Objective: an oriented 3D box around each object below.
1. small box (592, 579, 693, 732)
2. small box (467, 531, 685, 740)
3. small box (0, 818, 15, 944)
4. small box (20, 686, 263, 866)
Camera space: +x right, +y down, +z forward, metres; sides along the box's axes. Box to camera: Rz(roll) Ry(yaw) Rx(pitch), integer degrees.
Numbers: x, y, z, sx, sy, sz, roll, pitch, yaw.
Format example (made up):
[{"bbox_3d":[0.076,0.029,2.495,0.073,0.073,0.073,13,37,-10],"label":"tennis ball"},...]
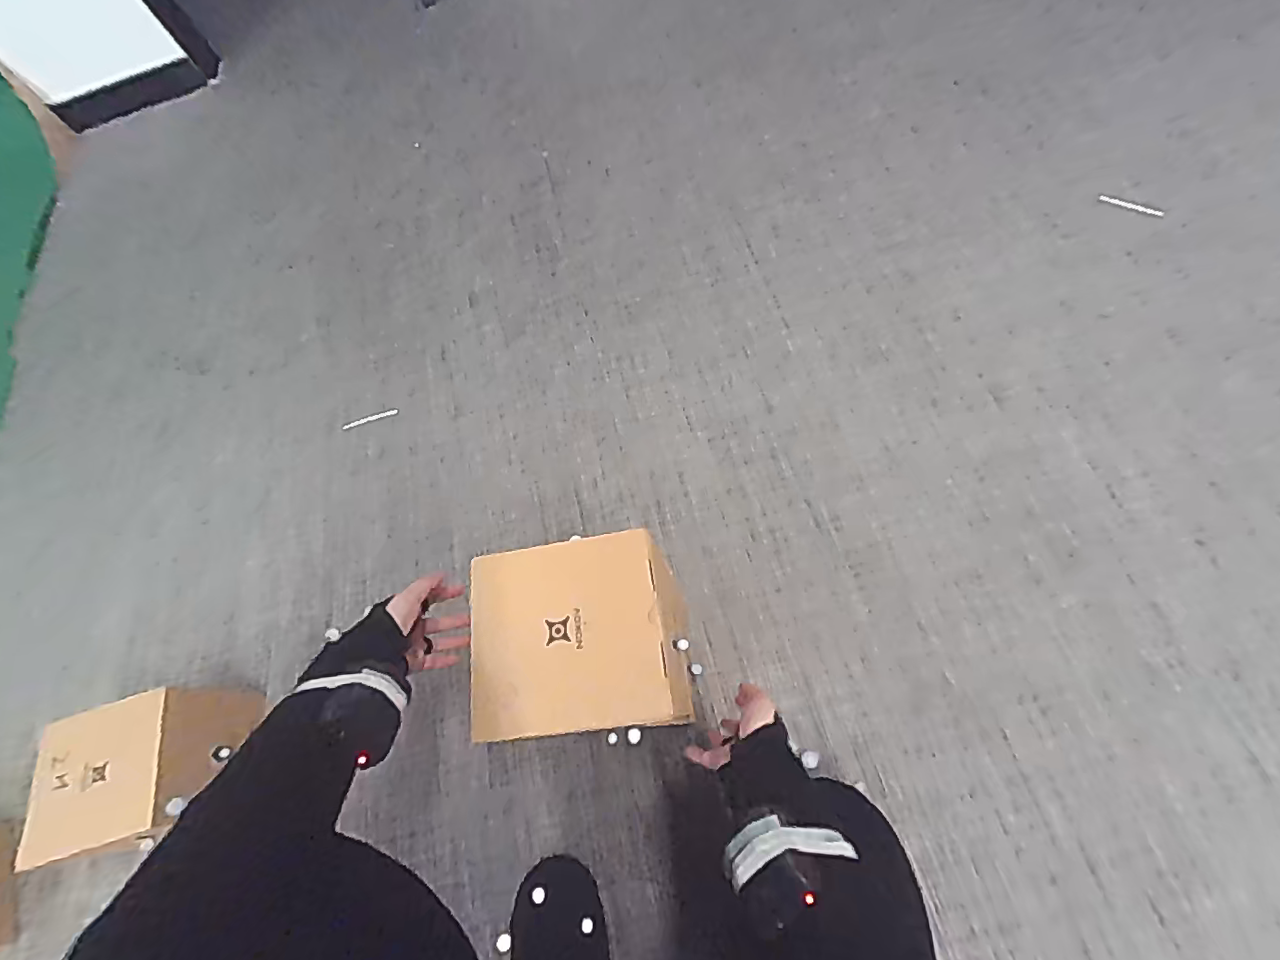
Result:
[{"bbox_3d":[-0.031,0.233,0.699,0.179,0.176,0.168,-7,66,7],"label":"small box"},{"bbox_3d":[-0.058,0.167,0.553,0.179,0.176,0.168,-10,66,5],"label":"small box"},{"bbox_3d":[-1.003,0.591,0.720,0.168,0.176,0.179,-33,65,-5],"label":"small box"},{"bbox_3d":[-0.658,0.393,0.742,0.179,0.176,0.168,-18,64,2],"label":"small box"}]
